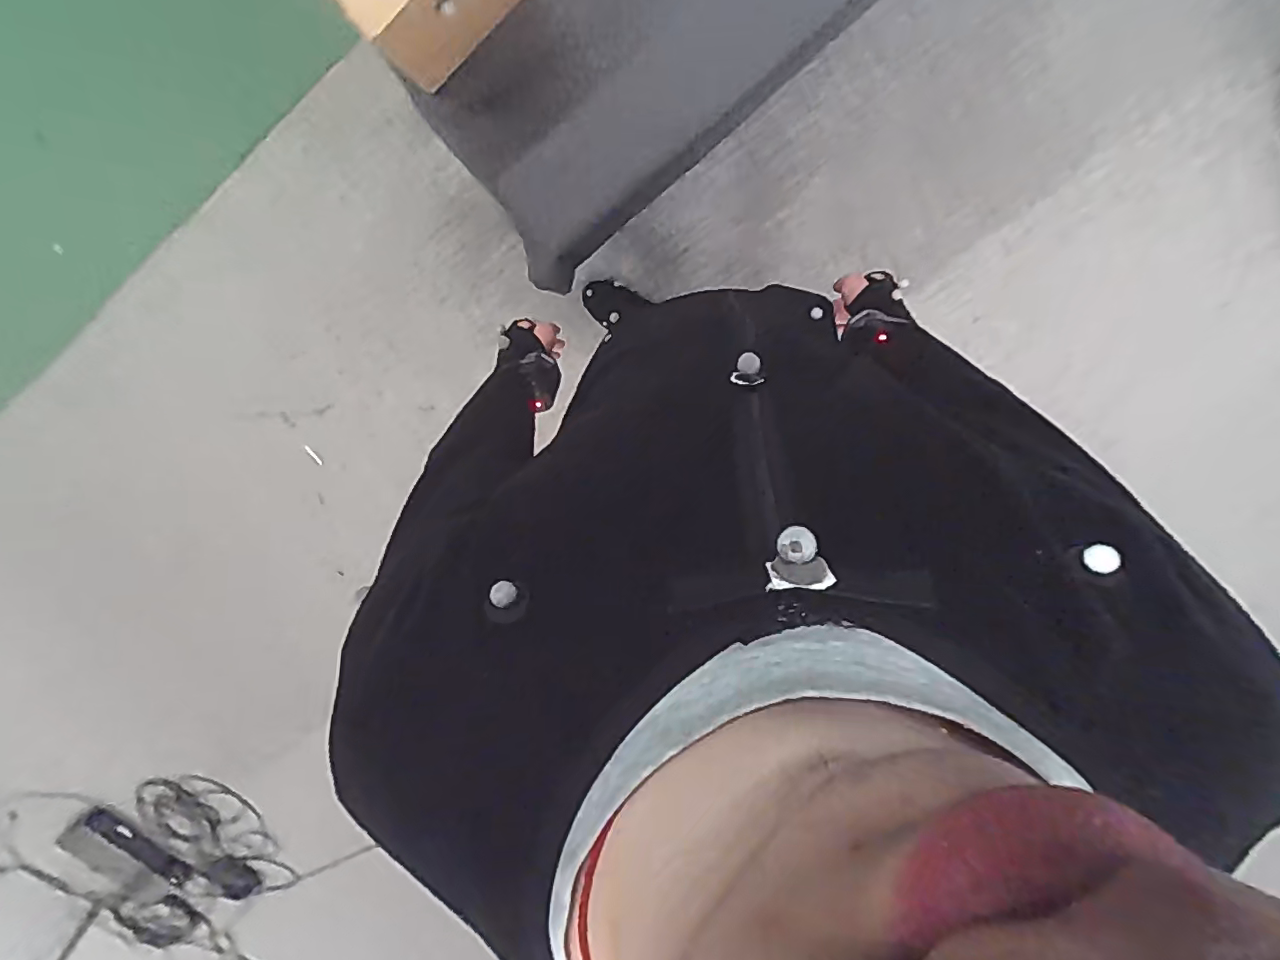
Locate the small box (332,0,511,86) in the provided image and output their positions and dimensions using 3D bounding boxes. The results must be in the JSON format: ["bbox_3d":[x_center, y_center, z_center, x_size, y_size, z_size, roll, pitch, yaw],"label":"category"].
[{"bbox_3d":[-0.230,-0.524,0.507,0.179,0.176,0.168,-39,109,10],"label":"small box"}]
